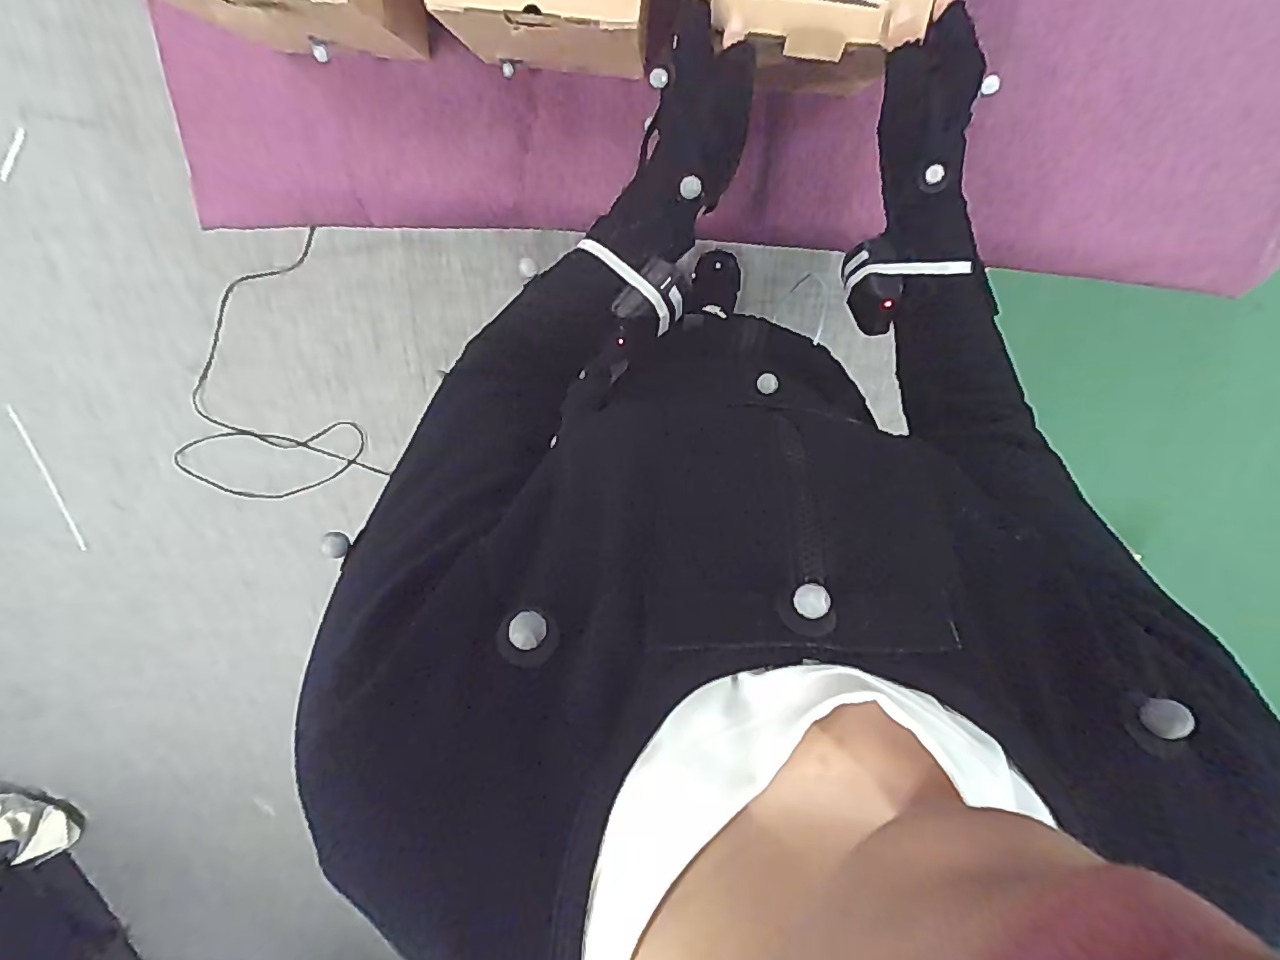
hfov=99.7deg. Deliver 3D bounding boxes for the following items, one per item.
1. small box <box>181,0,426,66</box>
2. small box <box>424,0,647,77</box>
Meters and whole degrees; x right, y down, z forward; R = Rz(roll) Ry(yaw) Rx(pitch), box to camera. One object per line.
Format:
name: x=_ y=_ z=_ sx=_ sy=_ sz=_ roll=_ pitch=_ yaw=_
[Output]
small box: x=-0.295 y=-0.479 z=0.449 sx=0.168 sy=0.176 sz=0.179 roll=4 pitch=115 yaw=0
small box: x=-0.075 y=-0.464 z=0.452 sx=0.168 sy=0.176 sz=0.179 roll=5 pitch=115 yaw=-1
